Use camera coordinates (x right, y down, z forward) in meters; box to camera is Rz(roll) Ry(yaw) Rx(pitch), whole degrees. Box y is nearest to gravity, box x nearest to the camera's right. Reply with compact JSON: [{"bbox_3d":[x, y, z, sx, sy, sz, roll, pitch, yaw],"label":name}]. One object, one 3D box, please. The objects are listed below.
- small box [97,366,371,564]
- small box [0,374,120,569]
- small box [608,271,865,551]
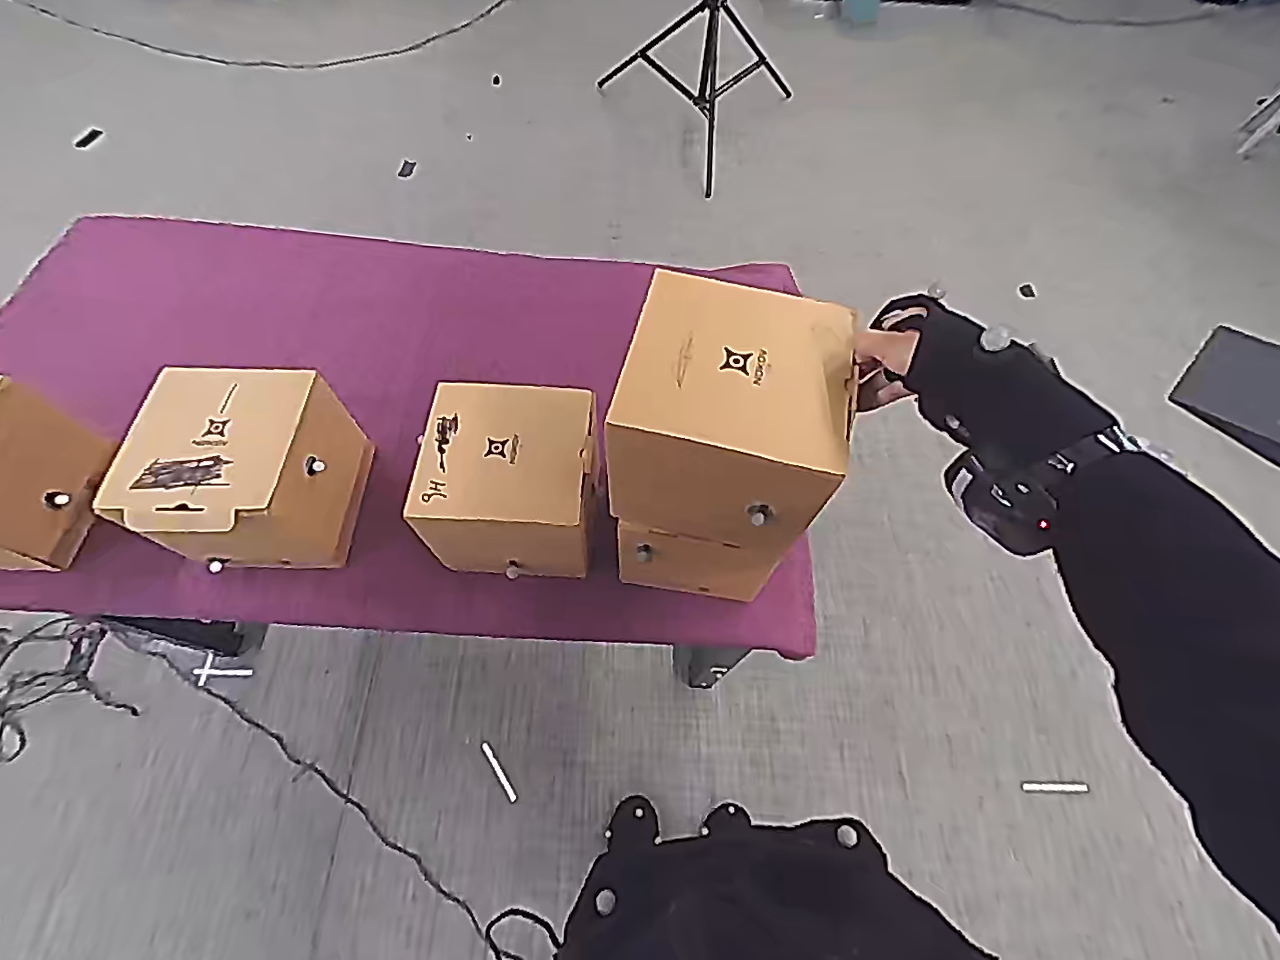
[{"bbox_3d":[-0.436,-0.008,0.621,0.168,0.176,0.179,1,62,-3],"label":"small box"},{"bbox_3d":[-0.761,-0.005,0.603,0.179,0.176,0.168,1,62,-3],"label":"small box"},{"bbox_3d":[0.079,-0.051,0.484,0.179,0.176,0.168,13,62,6],"label":"small box"}]
